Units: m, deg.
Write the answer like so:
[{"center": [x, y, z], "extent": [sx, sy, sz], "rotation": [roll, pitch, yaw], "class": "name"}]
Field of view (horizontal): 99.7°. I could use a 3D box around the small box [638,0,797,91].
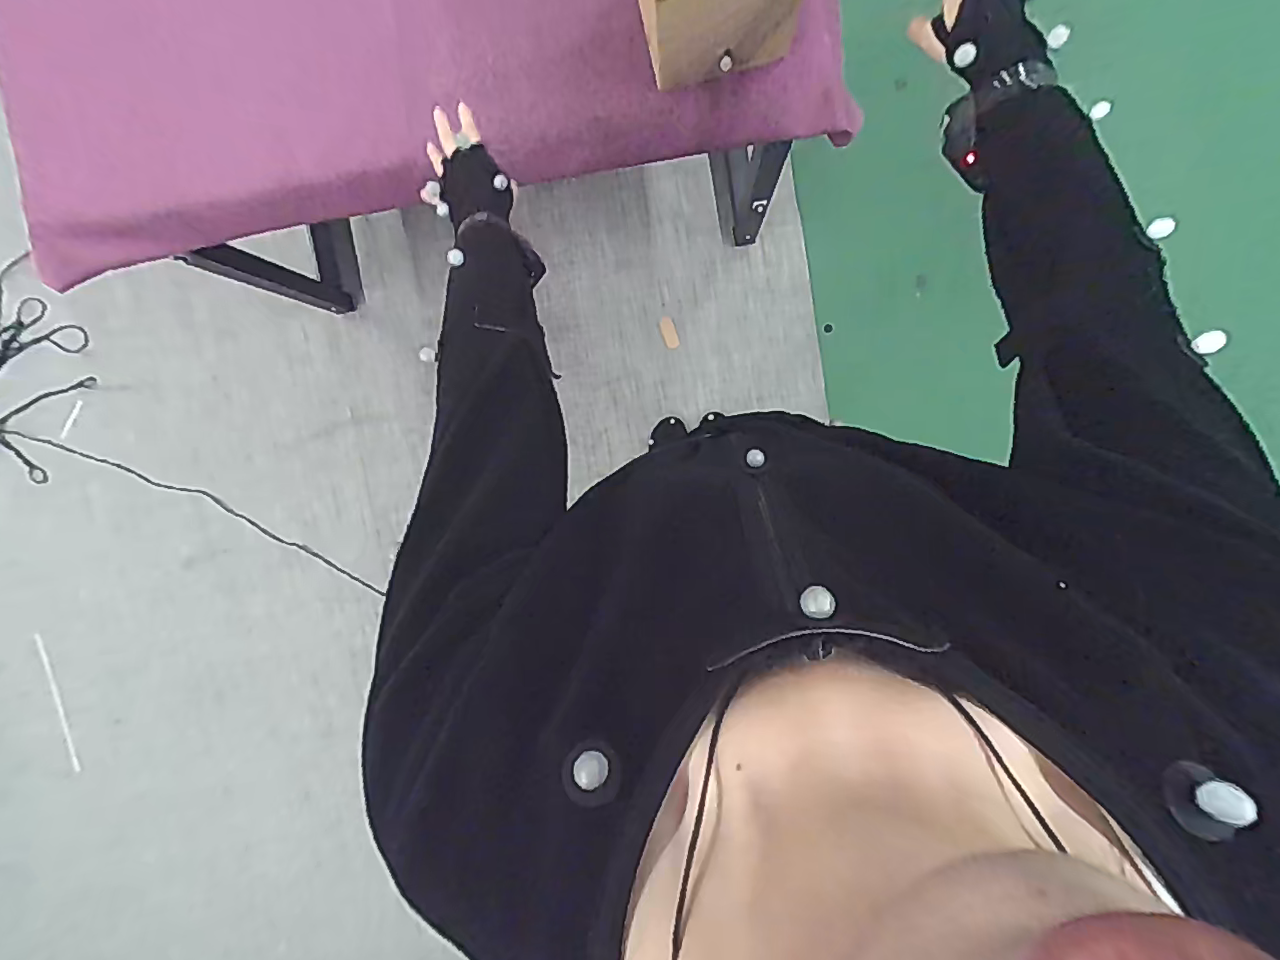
[{"center": [0.085, -0.611, 0.639], "extent": [0.179, 0.176, 0.168], "rotation": [-12, 94, 6], "class": "small box"}]
